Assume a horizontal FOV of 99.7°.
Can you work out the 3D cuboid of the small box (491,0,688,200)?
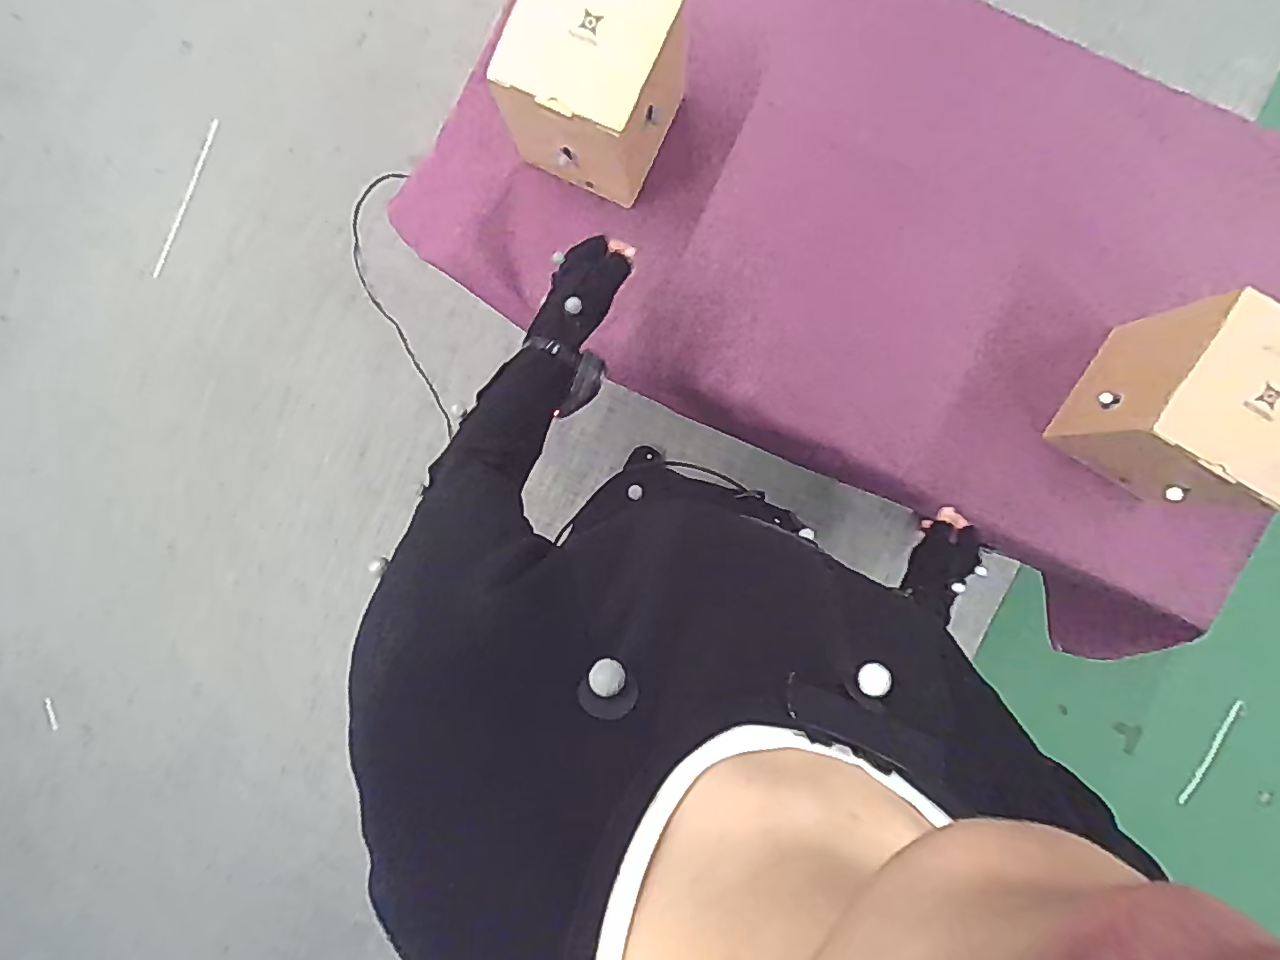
[{"bbox_3d":[-0.049,-0.481,0.656,0.168,0.176,0.179,26,93,2],"label":"small box"}]

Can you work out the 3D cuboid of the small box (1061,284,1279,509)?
[{"bbox_3d":[0.644,-0.085,0.624,0.168,0.176,0.179,33,93,2],"label":"small box"}]
